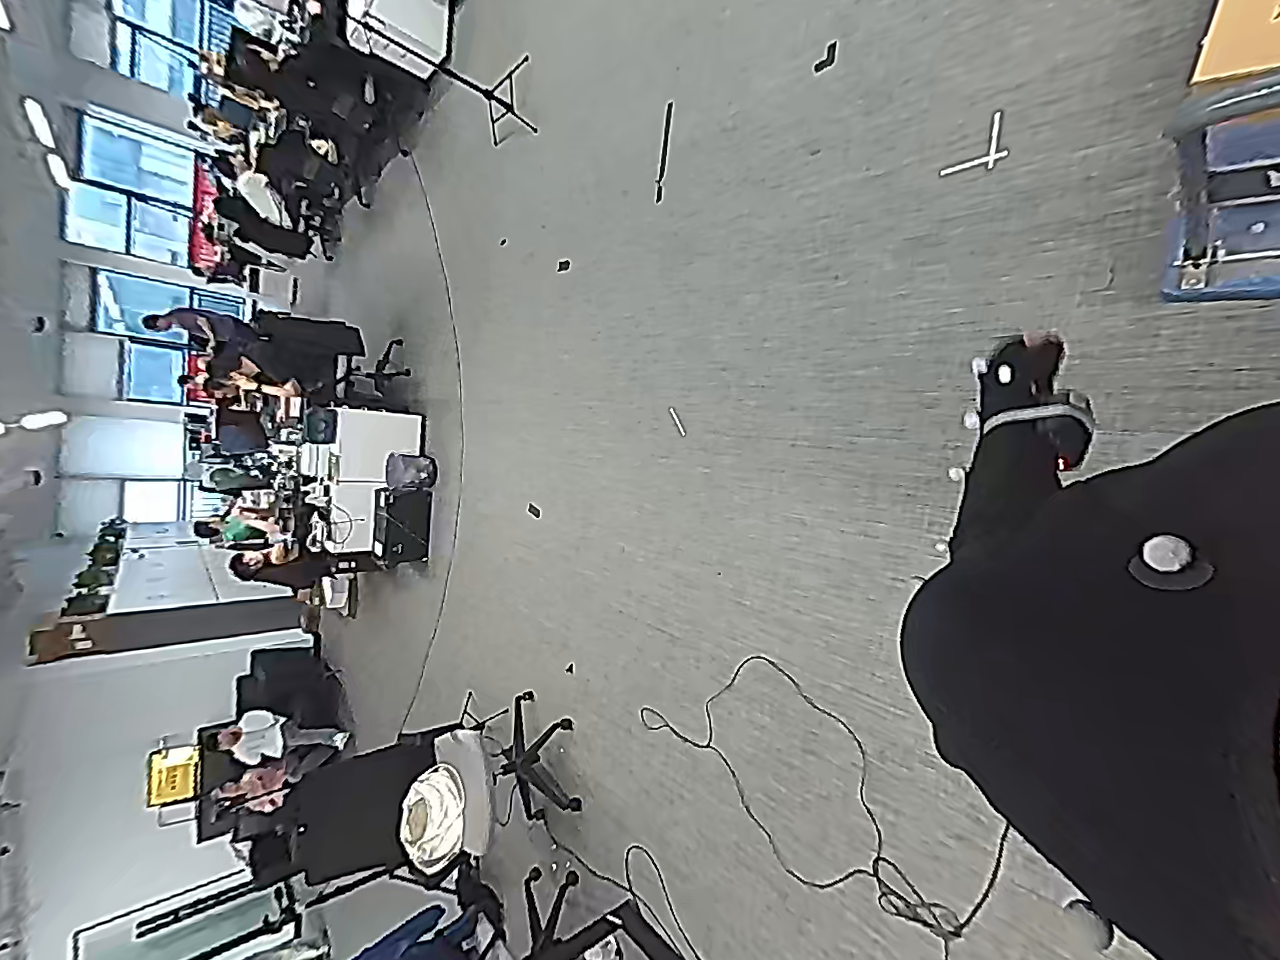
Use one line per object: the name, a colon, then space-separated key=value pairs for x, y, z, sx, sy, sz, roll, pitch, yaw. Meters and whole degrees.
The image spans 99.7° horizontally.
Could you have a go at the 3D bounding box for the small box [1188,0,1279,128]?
small box: x=1.007 y=-0.685 z=0.846 sx=0.179 sy=0.176 sz=0.168 roll=22 pitch=104 yaw=44
